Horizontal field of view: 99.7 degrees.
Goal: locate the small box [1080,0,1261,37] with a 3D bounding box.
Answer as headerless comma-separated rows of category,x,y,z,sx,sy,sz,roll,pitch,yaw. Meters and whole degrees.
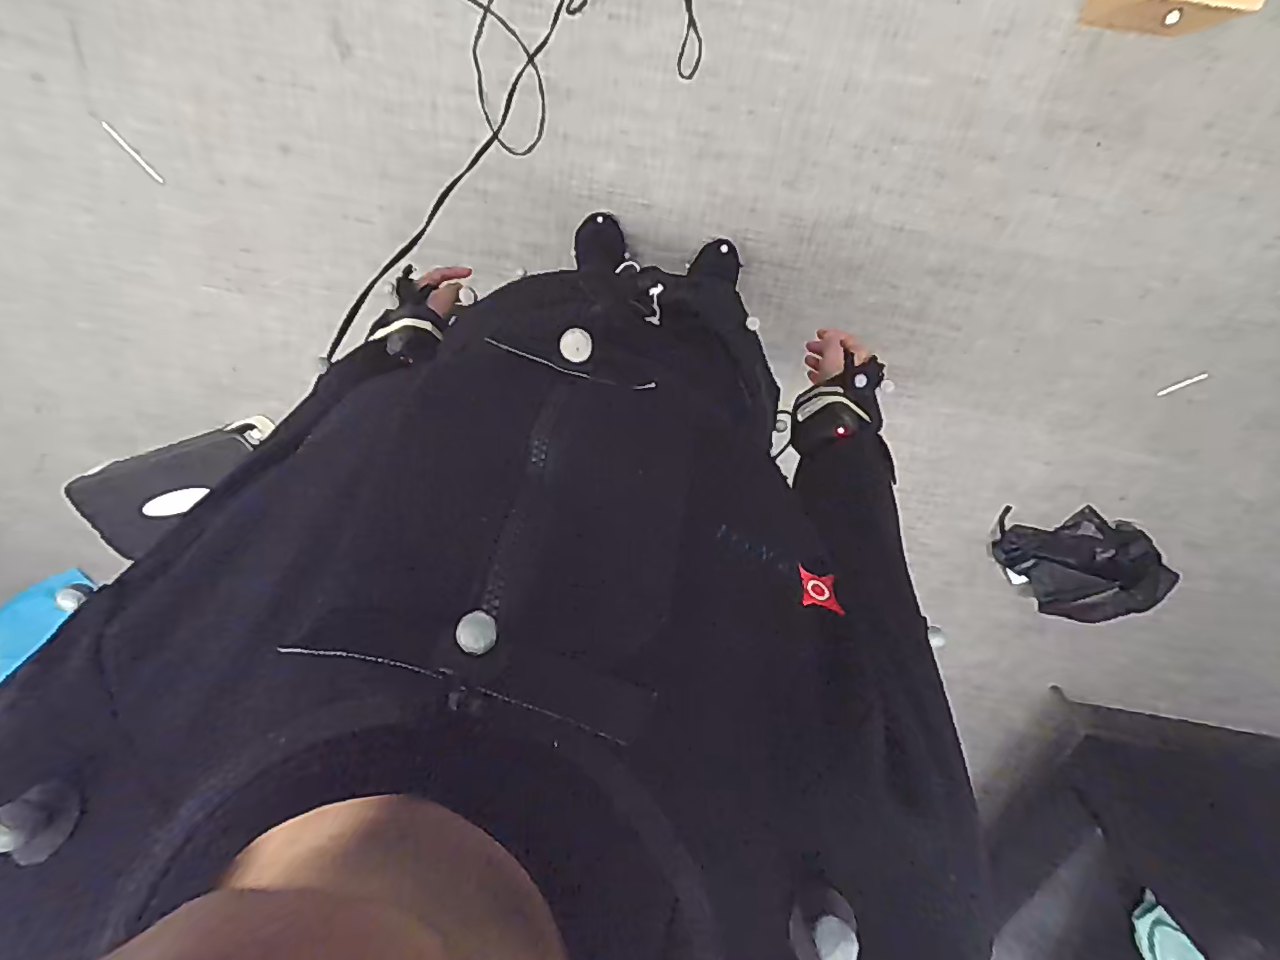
small box,0.871,-0.832,0.859,0.179,0.176,0.168,9,119,1
